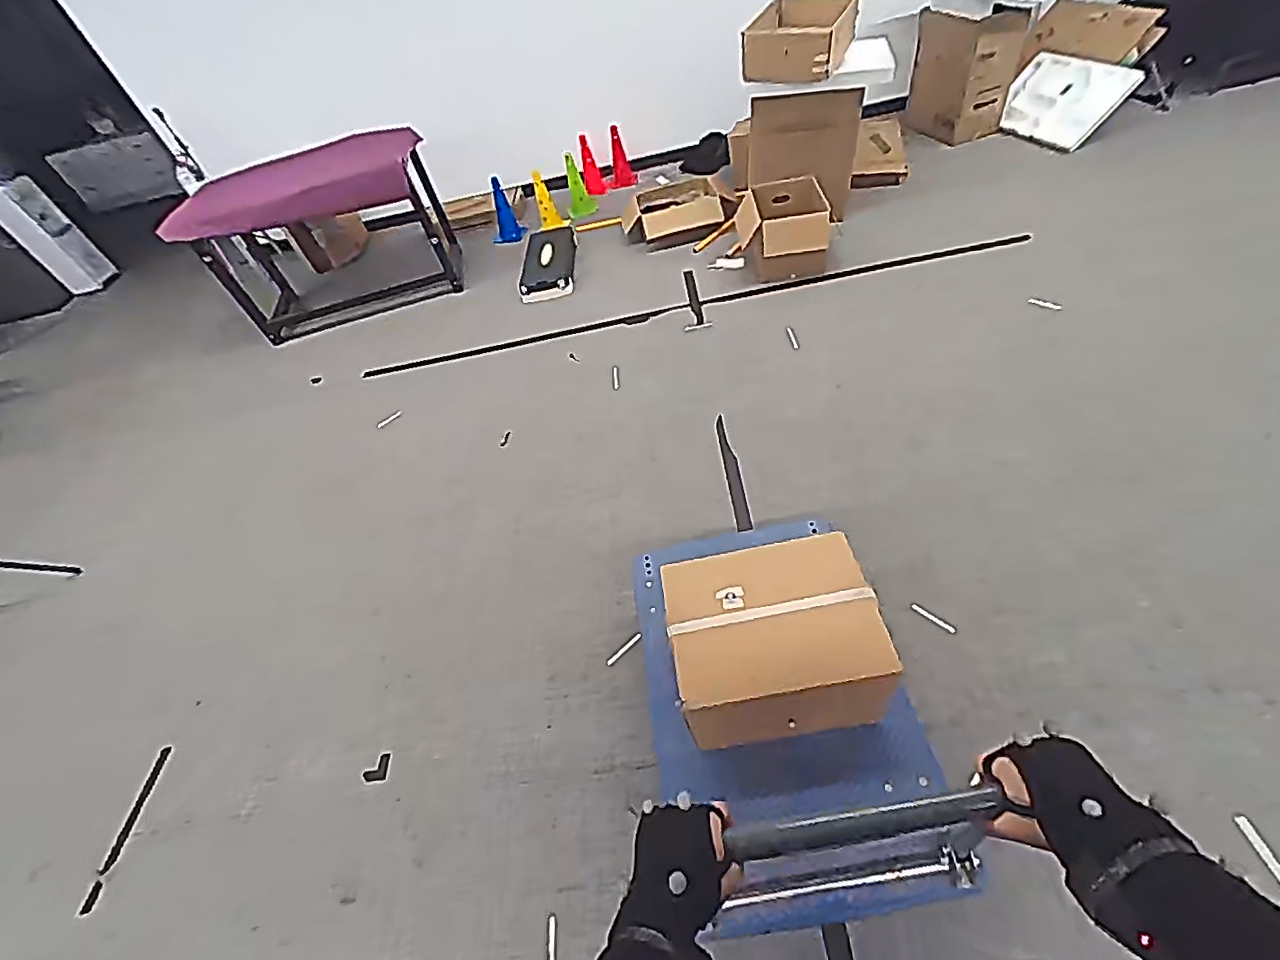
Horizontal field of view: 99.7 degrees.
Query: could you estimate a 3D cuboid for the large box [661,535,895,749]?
[{"bbox_3d":[0.287,0.370,1.208,0.408,0.320,0.320,-13,48,5],"label":"large box"}]
